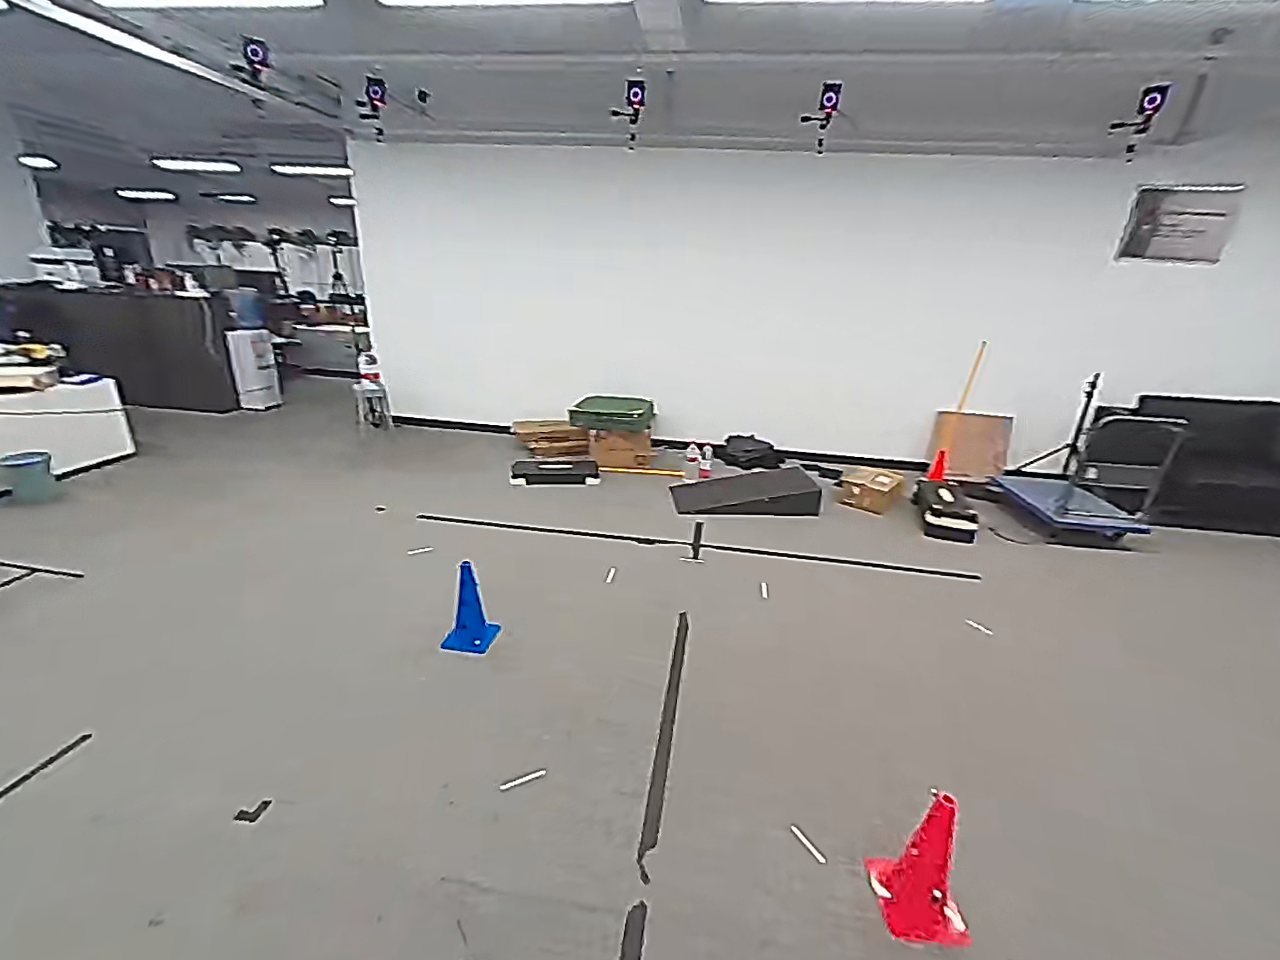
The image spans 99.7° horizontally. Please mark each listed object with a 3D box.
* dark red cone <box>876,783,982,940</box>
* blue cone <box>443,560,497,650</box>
[{"bbox_3d":[0.728,0.893,1.313,0.201,0.394,0.202,2,20,1],"label":"dark red cone"},{"bbox_3d":[-0.714,0.509,2.246,0.192,0.380,0.193,5,20,9],"label":"blue cone"}]
